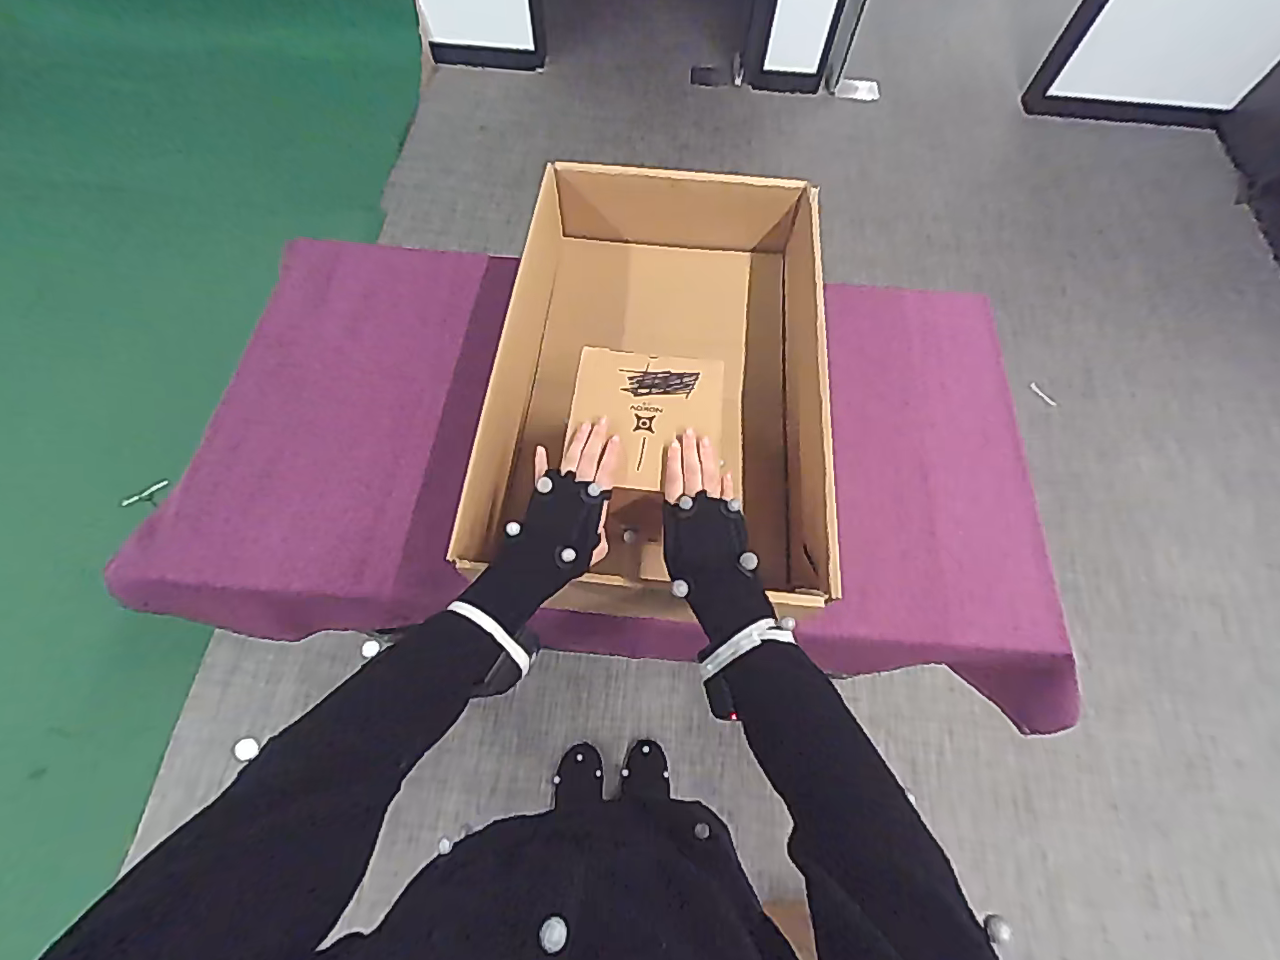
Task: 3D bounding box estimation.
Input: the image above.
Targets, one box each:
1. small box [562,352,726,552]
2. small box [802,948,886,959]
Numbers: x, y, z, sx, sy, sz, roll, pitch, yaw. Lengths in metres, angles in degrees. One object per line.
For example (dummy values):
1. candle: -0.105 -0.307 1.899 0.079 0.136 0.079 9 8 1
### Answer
1. small box: 0.006 -0.028 0.656 0.168 0.176 0.179 6 65 1
2. small box: 0.337 0.817 0.780 0.168 0.176 0.179 6 64 1
